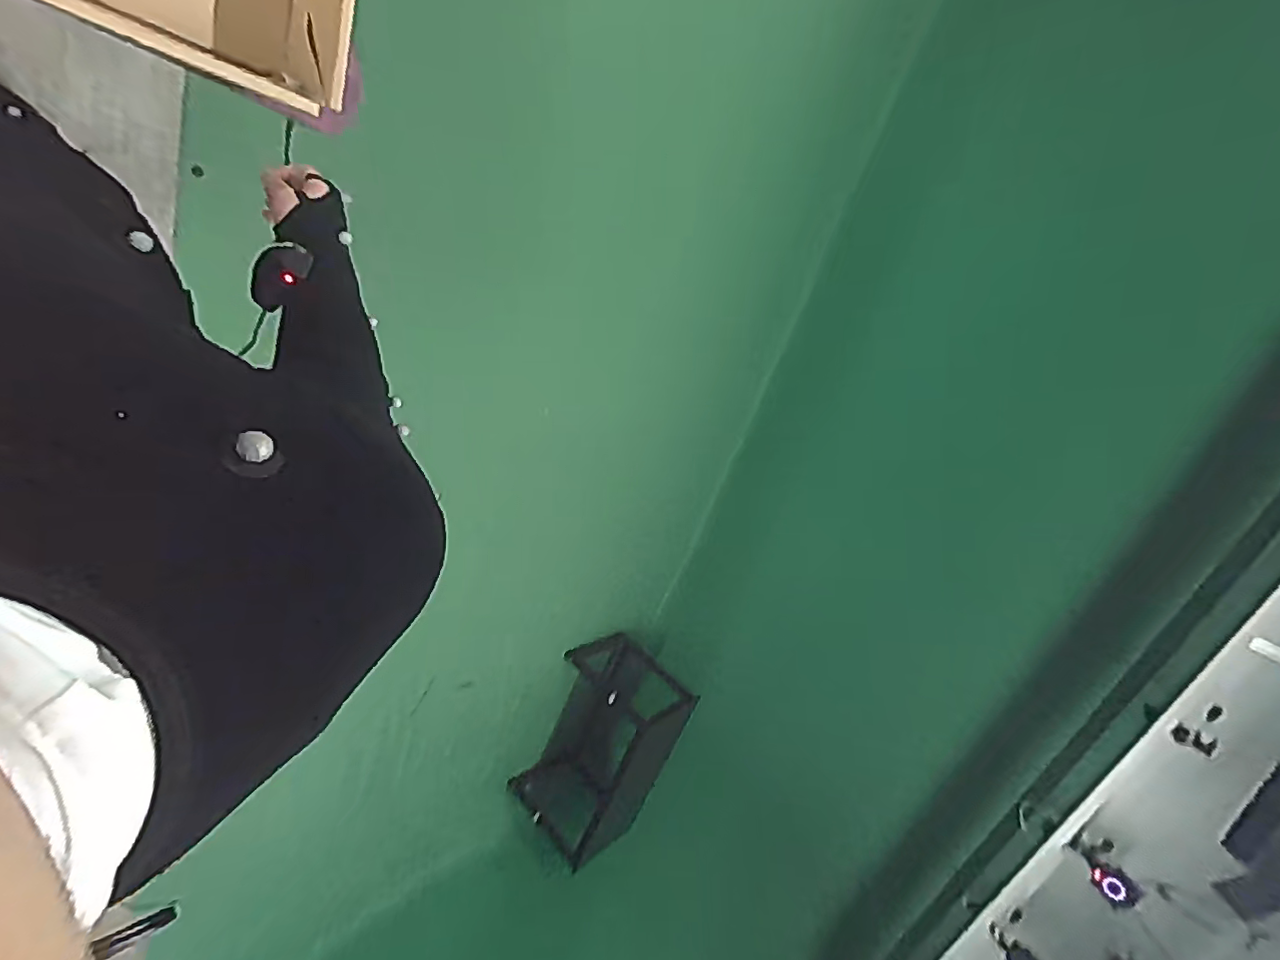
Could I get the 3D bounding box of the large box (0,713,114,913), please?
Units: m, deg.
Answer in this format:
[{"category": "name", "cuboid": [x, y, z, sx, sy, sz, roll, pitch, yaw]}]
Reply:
[{"category": "large box", "cuboid": [-1.700, 0.893, 1.366, 0.408, 0.320, 0.320, -38, 146, -29]}]
